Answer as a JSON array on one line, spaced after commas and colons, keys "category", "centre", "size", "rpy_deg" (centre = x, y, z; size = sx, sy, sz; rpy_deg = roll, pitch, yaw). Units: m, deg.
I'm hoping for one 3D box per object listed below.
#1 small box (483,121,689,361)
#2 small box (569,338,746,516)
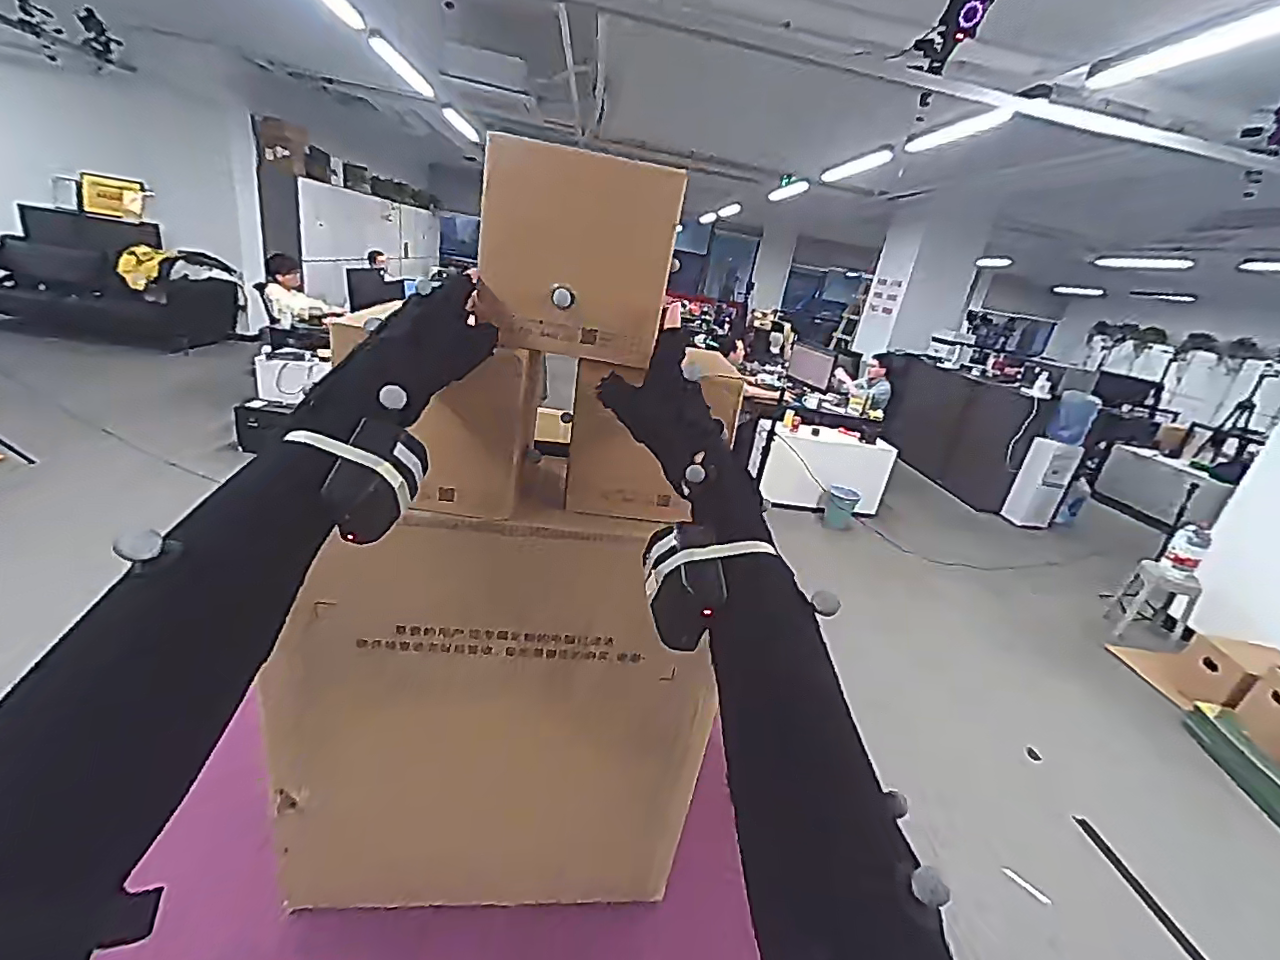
[{"category": "small box", "centre": [-0.055, -0.227, 0.541], "size": [0.168, 0.176, 0.179], "rpy_deg": [8, 22, -5]}, {"category": "small box", "centre": [0.011, -0.070, 0.626], "size": [0.168, 0.176, 0.179], "rpy_deg": [7, 20, -5]}]
